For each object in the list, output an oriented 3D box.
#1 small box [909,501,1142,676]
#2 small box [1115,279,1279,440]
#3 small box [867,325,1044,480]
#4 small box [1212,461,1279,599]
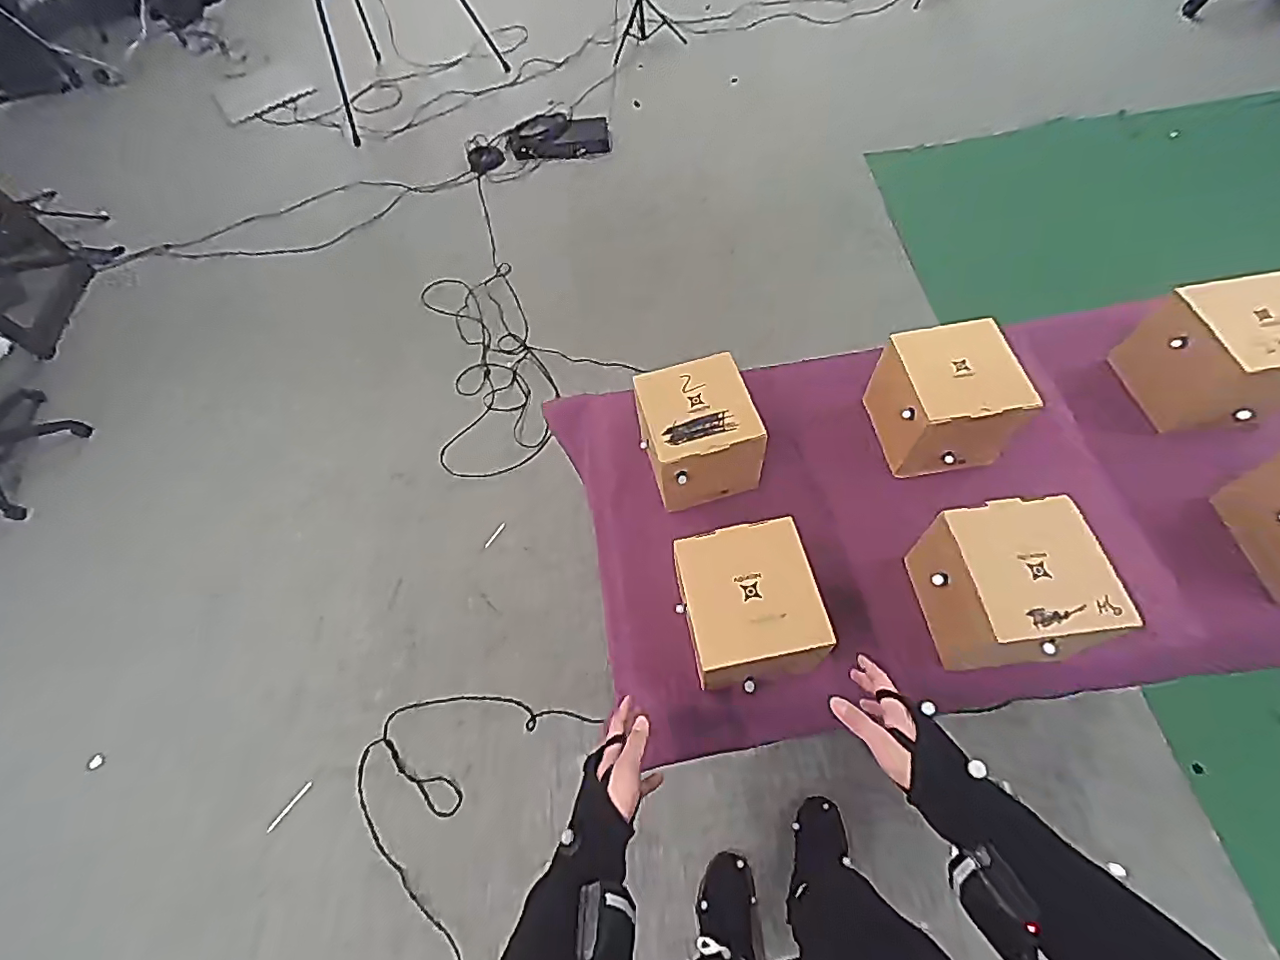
[{"bbox_3d":[0.493,0.151,0.730,0.168,0.176,0.179,-8,59,3],"label":"small box"},{"bbox_3d":[0.931,-0.188,0.868,0.168,0.176,0.179,-8,61,3],"label":"small box"},{"bbox_3d":[0.496,-0.123,0.884,0.168,0.176,0.179,-9,62,1],"label":"small box"},{"bbox_3d":[0.957,0.065,0.724,0.168,0.176,0.179,-5,59,4],"label":"small box"}]
